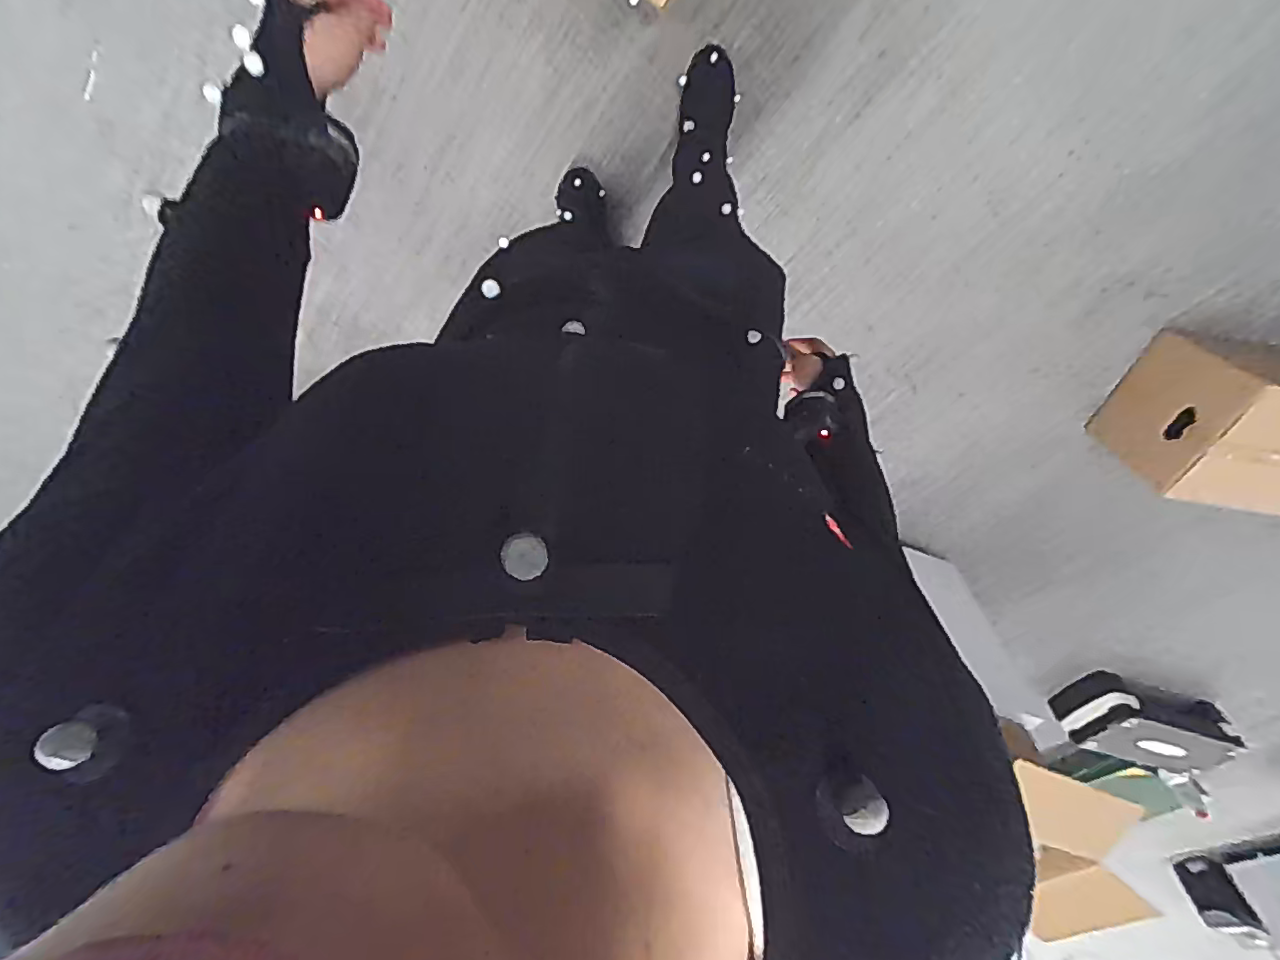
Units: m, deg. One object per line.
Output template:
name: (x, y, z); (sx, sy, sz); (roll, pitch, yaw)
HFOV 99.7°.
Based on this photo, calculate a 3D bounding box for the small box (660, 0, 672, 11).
small box: (0.021, -0.935, 0.906); (0.179, 0.176, 0.168); (36, 121, -22)

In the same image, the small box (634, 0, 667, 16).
small box: (0.015, -0.828, 0.783); (0.168, 0.176, 0.179); (36, 121, -21)
